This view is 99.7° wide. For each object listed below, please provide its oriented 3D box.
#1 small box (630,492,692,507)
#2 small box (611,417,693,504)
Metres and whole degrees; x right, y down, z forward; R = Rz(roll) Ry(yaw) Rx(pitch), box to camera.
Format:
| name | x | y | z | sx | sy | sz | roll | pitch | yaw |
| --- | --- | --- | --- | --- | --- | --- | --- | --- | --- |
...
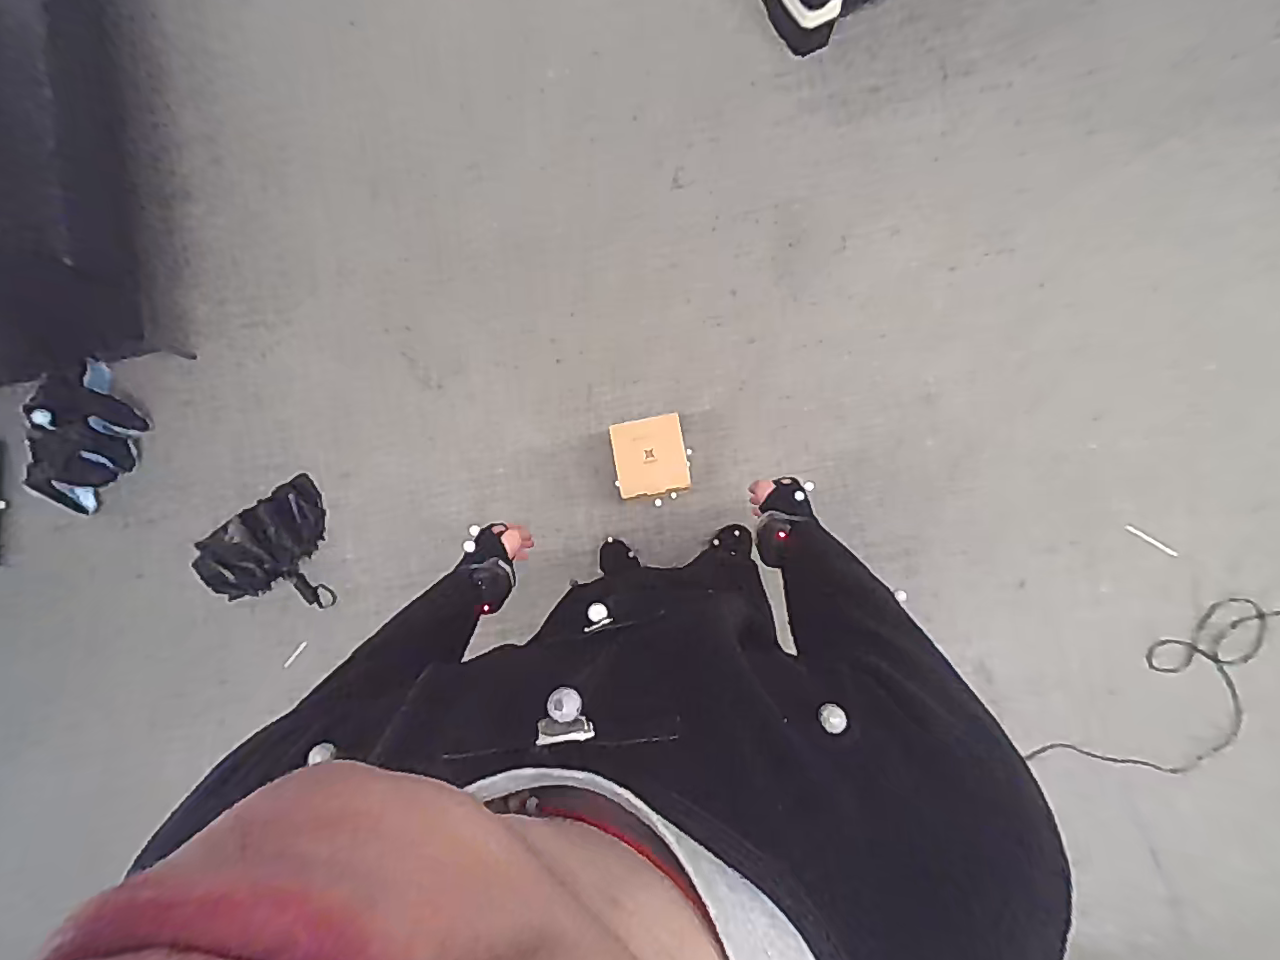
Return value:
| name | x | y | z | sx | sy | sz | roll | pitch | yaw |
| --- | --- | --- | --- | --- | --- | --- | --- | --- | --- |
| small box | 0.046 | -0.025 | 1.477 | 0.168 | 0.176 | 0.179 | -10 | 86 | 5 |
| small box | 0.035 | -0.040 | 1.316 | 0.168 | 0.176 | 0.179 | -12 | 84 | 4 |
